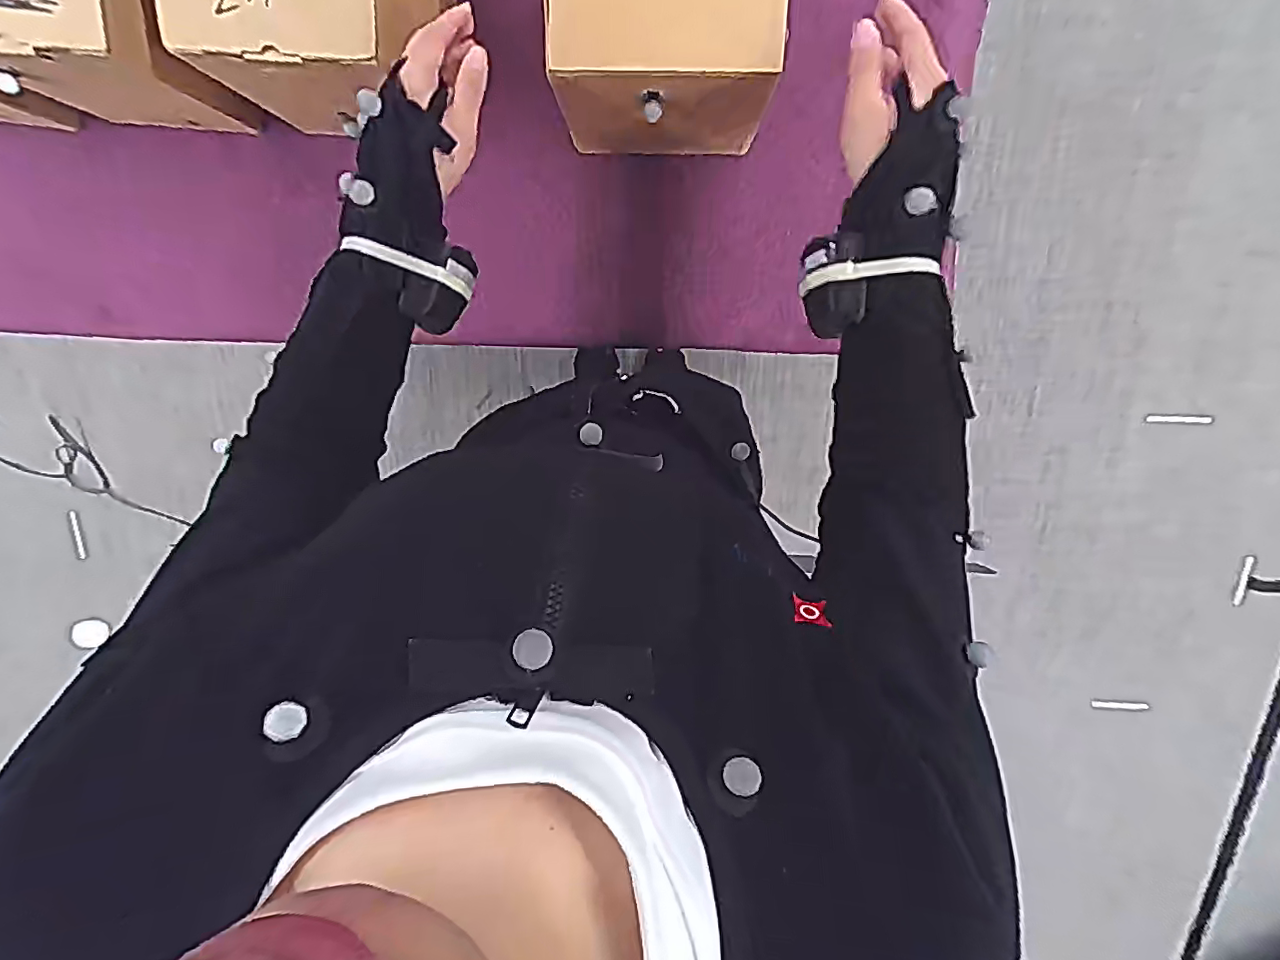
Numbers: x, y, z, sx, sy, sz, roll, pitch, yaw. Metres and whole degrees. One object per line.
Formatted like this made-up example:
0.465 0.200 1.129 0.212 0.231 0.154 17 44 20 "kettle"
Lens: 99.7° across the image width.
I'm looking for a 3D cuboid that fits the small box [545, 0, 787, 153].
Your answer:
0.022 -0.396 0.455 0.179 0.176 0.168 2 104 3 "small box"
